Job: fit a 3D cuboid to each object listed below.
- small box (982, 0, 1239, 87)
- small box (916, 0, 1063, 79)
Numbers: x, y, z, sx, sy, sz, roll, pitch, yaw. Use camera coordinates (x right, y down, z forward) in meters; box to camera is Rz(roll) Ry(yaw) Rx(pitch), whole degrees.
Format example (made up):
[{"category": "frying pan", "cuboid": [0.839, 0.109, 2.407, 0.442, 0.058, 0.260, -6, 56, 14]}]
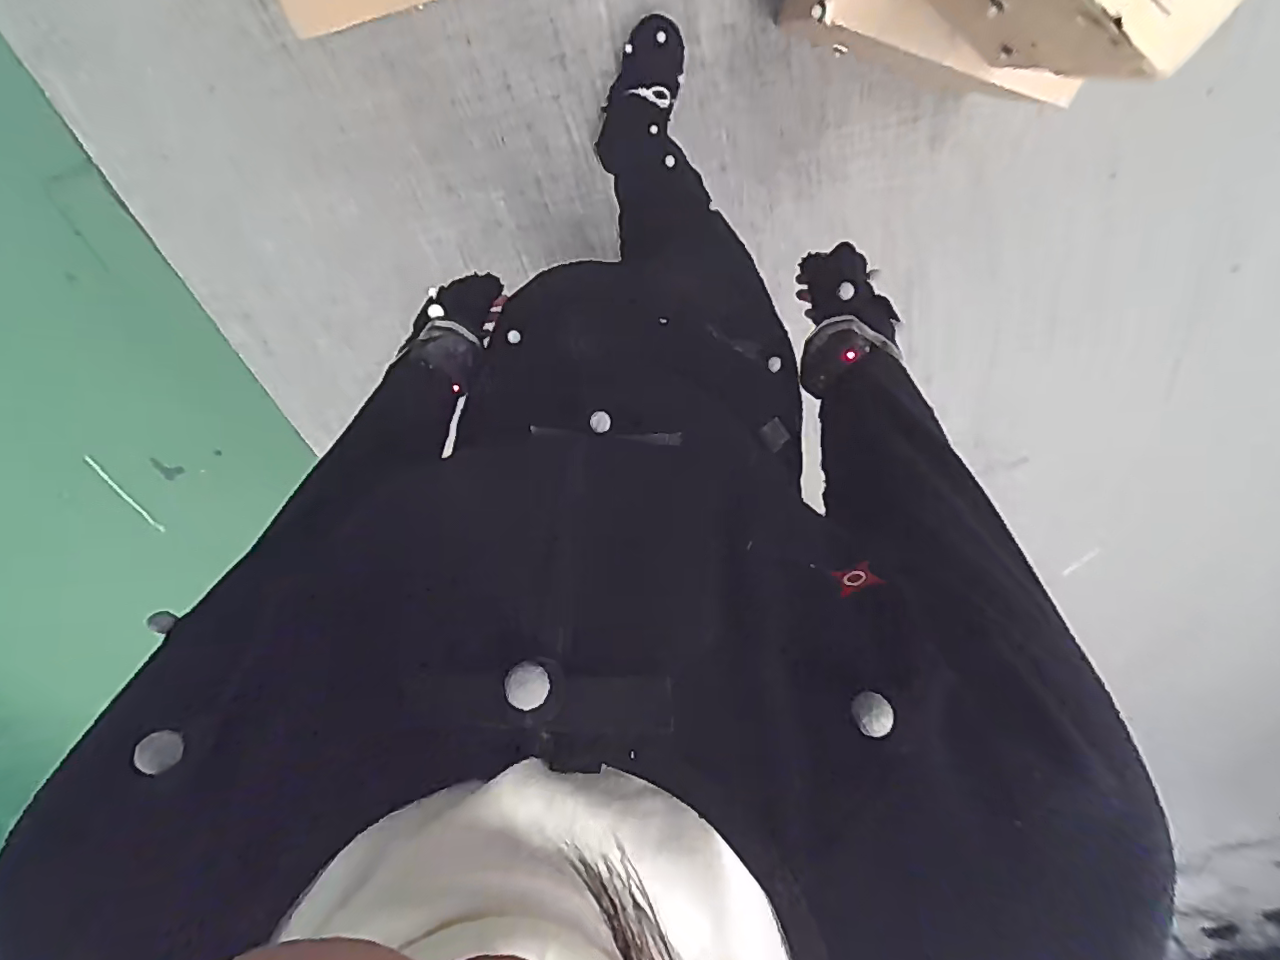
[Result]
[{"category": "small box", "cuboid": [0.468, -0.516, 0.514, 0.168, 0.176, 0.179, 22, 125, -16]}, {"category": "small box", "cuboid": [0.474, -0.619, 0.643, 0.179, 0.176, 0.168, 26, 123, -16]}]
